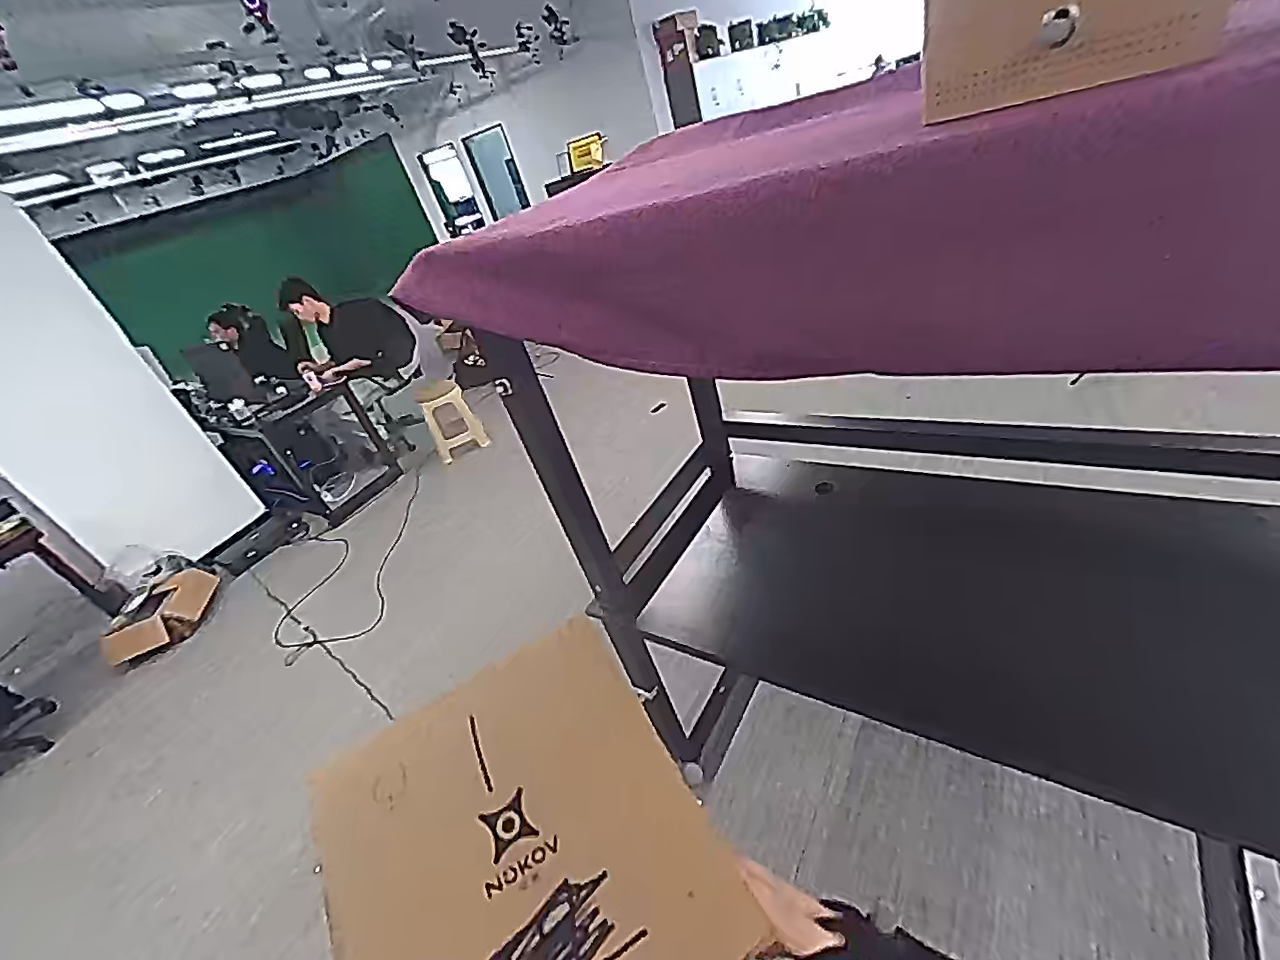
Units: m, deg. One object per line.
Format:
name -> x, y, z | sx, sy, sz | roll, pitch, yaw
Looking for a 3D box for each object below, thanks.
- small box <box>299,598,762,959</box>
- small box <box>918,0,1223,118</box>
small box -> -0.052, 0.207, 0.307 | 0.168, 0.176, 0.179 | -28, 53, -15
small box -> 0.319, -0.393, 0.394 | 0.179, 0.176, 0.168 | 11, 42, 37
